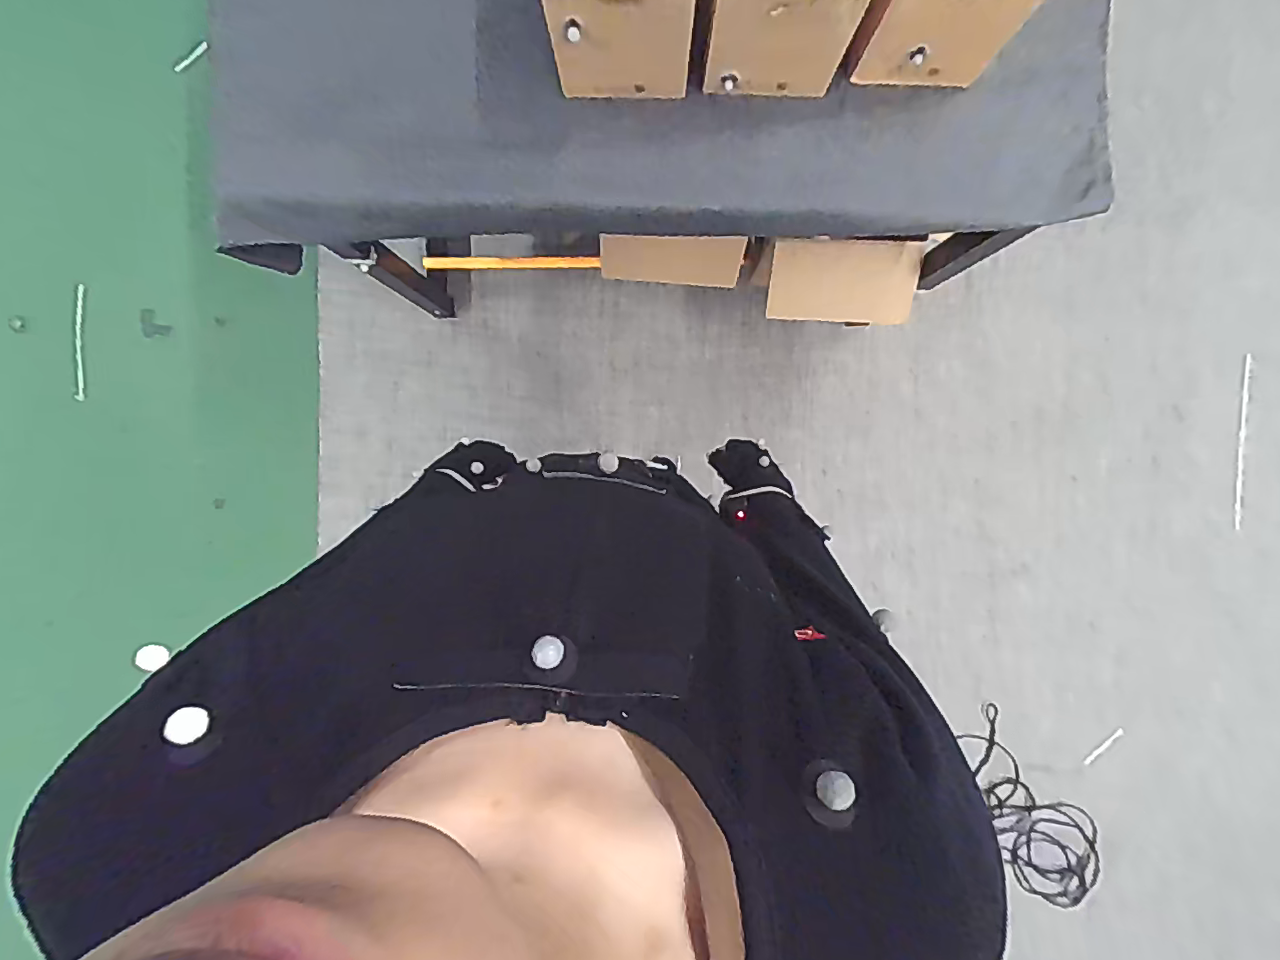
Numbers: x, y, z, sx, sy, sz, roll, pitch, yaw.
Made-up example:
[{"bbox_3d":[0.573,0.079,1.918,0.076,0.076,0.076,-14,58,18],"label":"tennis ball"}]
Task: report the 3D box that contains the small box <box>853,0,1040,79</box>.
[{"bbox_3d":[0.364,-0.621,0.634,0.168,0.176,0.179,2,94,0],"label":"small box"}]
